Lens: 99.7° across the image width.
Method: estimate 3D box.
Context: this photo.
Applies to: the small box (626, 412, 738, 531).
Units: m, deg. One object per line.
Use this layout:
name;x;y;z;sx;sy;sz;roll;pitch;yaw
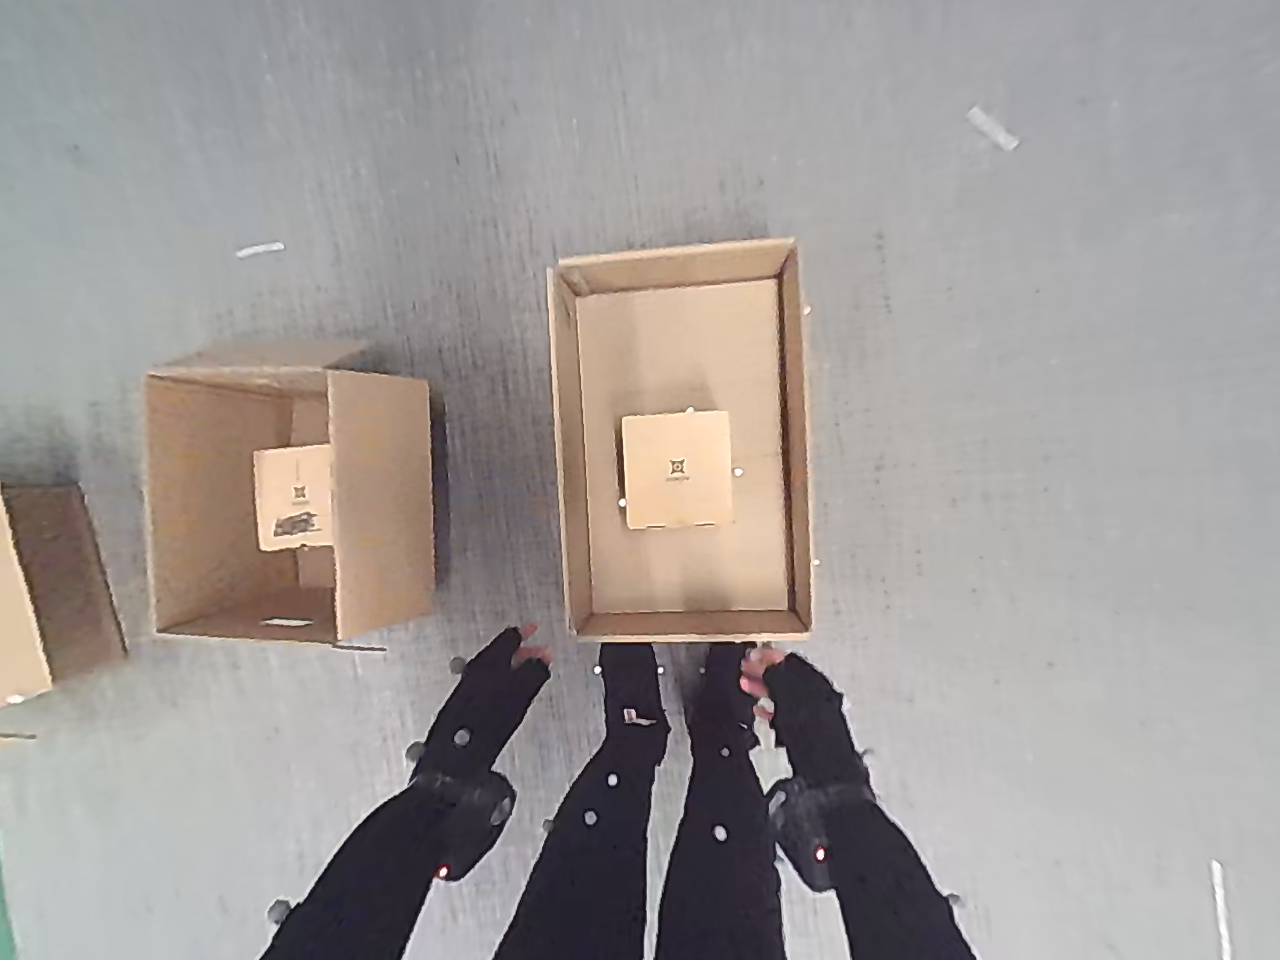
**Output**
small box;0.071;-0.013;0.897;0.168;0.176;0.179;-3;91;7
